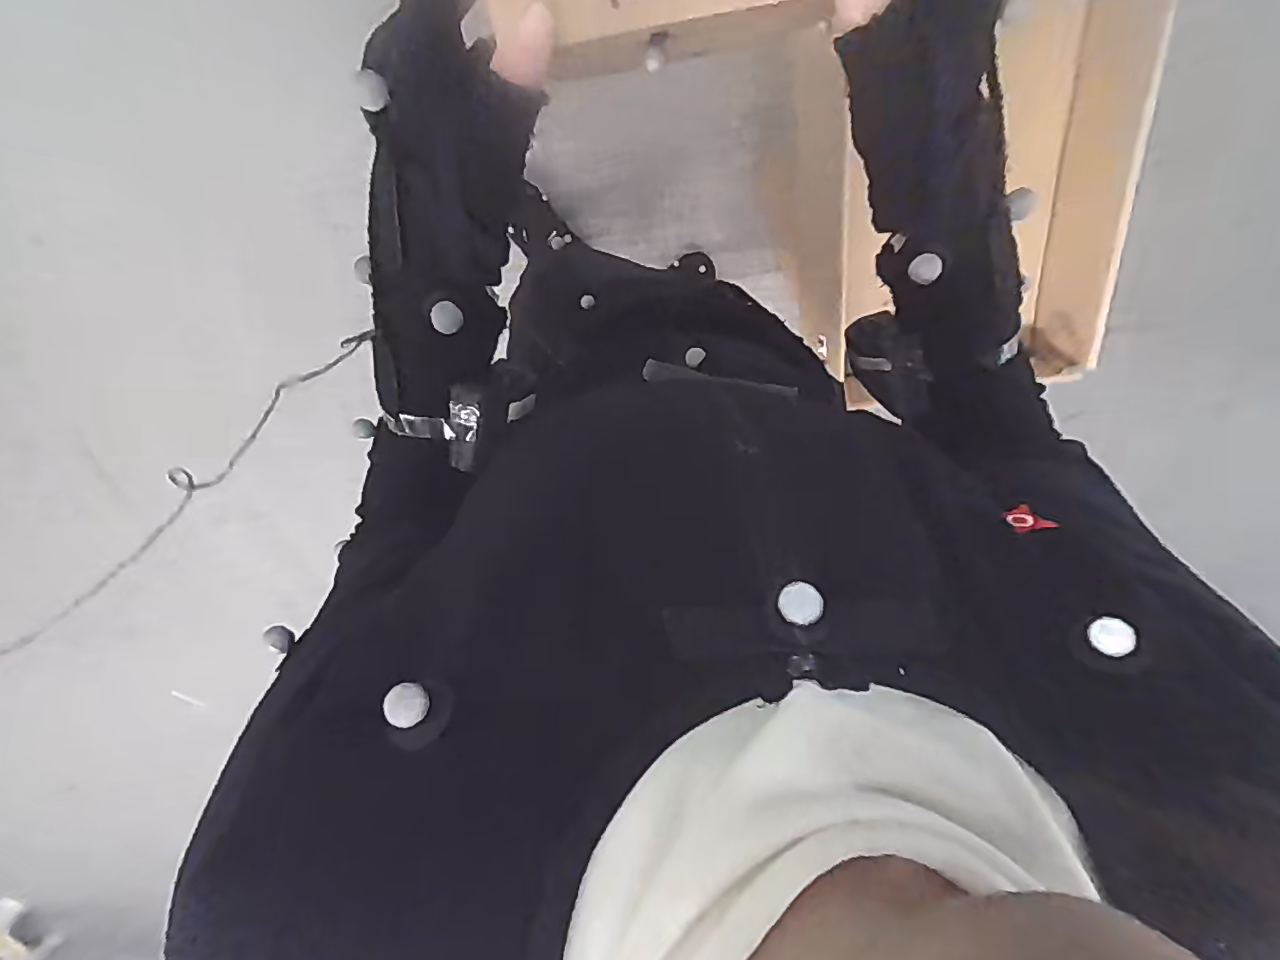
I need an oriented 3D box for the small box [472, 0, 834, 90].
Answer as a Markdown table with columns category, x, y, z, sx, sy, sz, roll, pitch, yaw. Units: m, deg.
| category | x | y | z | sx | sy | sz | roll | pitch | yaw |
| --- | --- | --- | --- | --- | --- | --- | --- | --- | --- |
| small box | -0.002 | -0.302 | 0.242 | 0.168 | 0.176 | 0.179 | -10 | 121 | 3 |
